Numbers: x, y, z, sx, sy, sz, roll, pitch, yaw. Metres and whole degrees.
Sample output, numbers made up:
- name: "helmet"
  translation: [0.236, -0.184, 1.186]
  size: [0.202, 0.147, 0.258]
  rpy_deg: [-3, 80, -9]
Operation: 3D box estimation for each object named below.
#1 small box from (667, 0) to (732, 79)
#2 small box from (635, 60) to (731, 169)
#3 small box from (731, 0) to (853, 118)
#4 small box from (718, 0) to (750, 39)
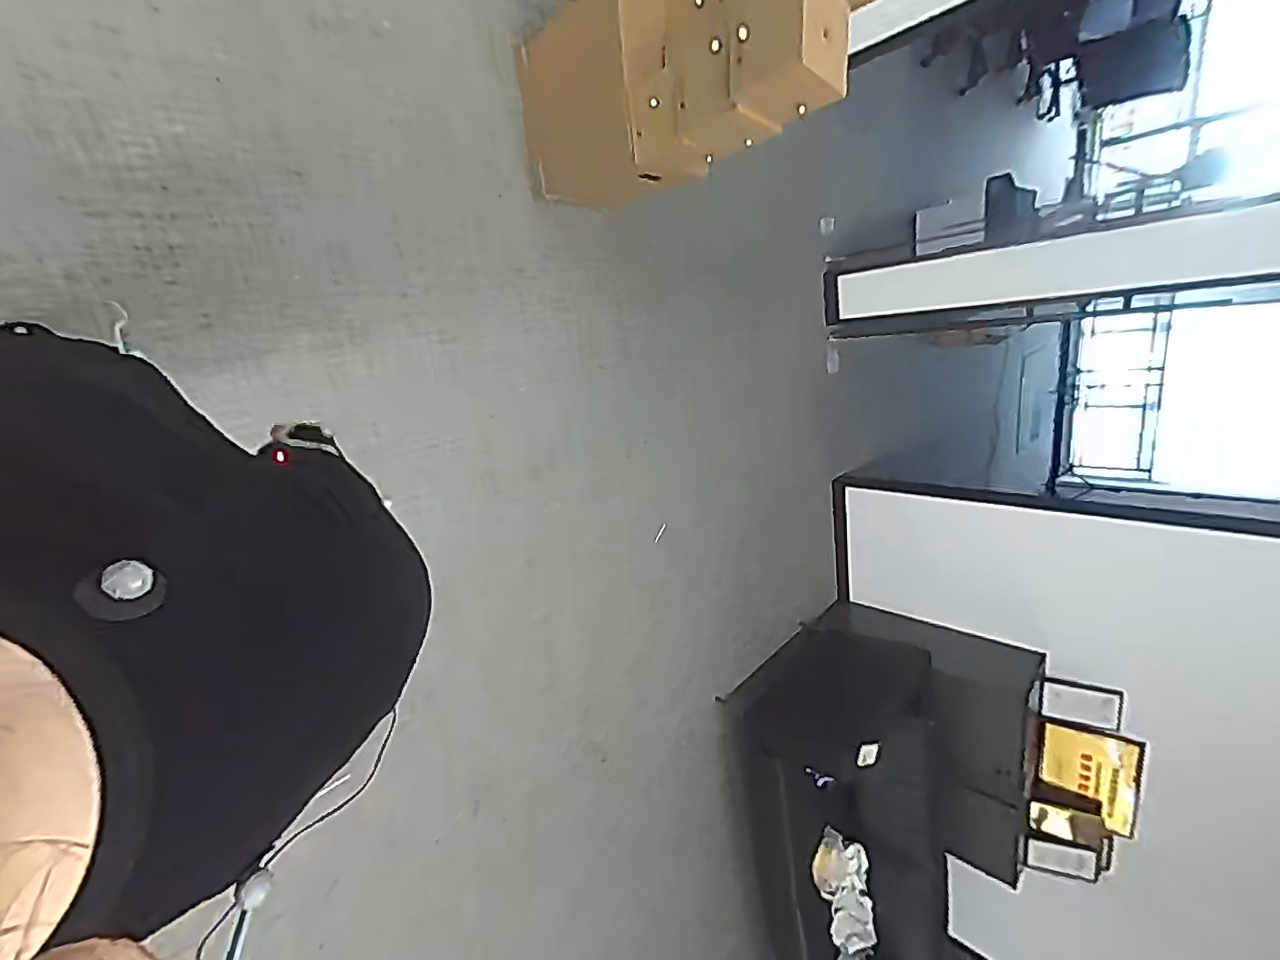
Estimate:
- name: "small box"
  translation: [0.181, -1.147, 1.370]
  size: [0.168, 0.176, 0.179]
  rpy_deg: [-10, 104, -42]
- name: "small box"
  translation: [0.101, -0.887, 1.333]
  size: [0.179, 0.176, 0.168]
  rpy_deg: [-20, 110, -40]
- name: "small box"
  translation: [0.300, -0.854, 1.073]
  size: [0.179, 0.176, 0.168]
  rpy_deg: [-10, 103, -42]
- name: "small box"
  translation: [0.296, -1.133, 1.253]
  size: [0.179, 0.176, 0.168]
  rpy_deg: [-8, 102, -44]
